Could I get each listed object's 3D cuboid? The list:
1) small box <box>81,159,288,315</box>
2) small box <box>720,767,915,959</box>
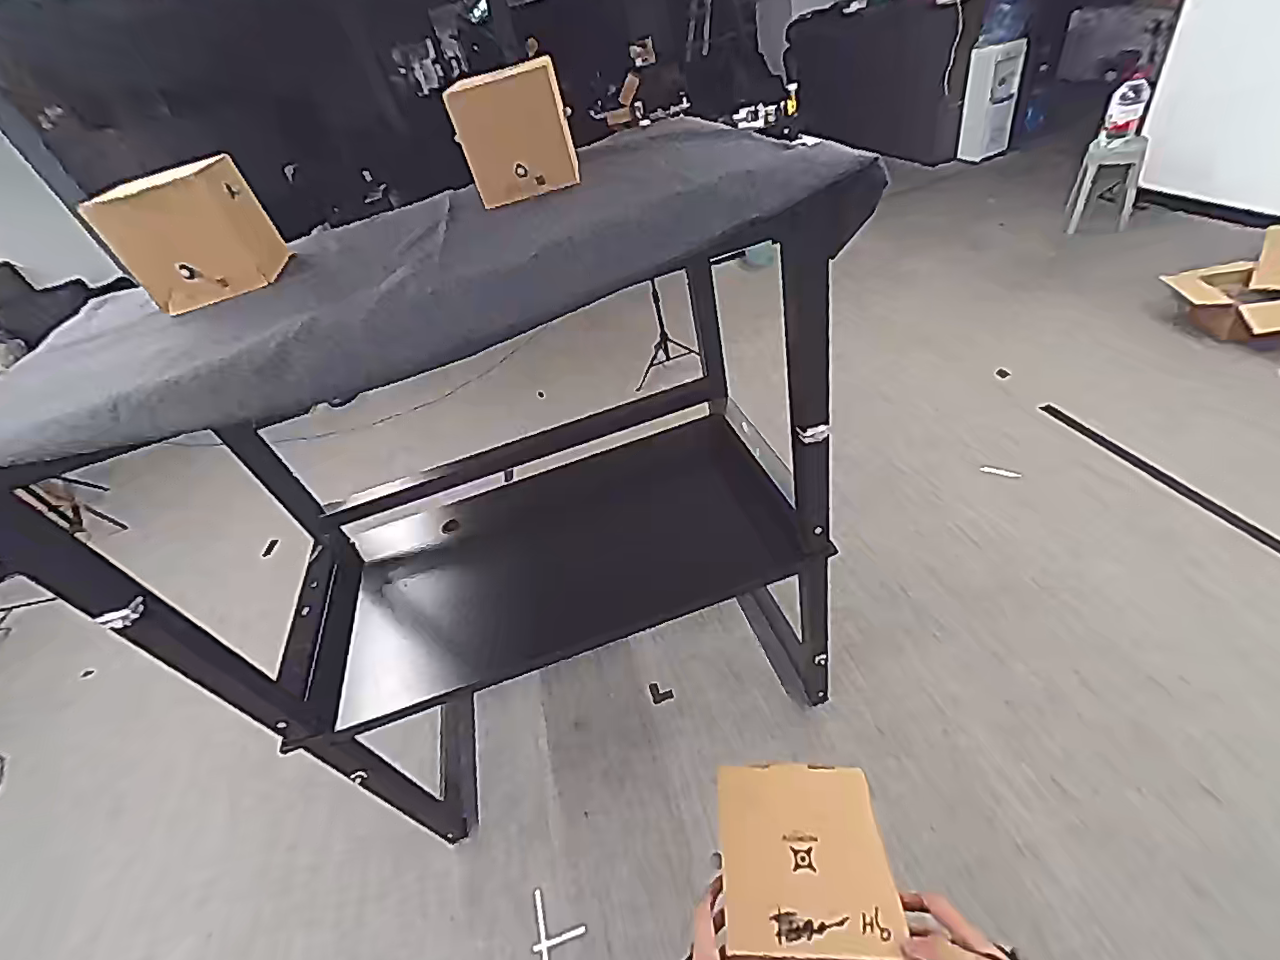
[{"bbox_3d":[-0.705,-0.389,0.867,0.168,0.176,0.179,-21,42,-5],"label":"small box"},{"bbox_3d":[0.171,0.444,0.585,0.168,0.176,0.179,-3,31,7],"label":"small box"}]
